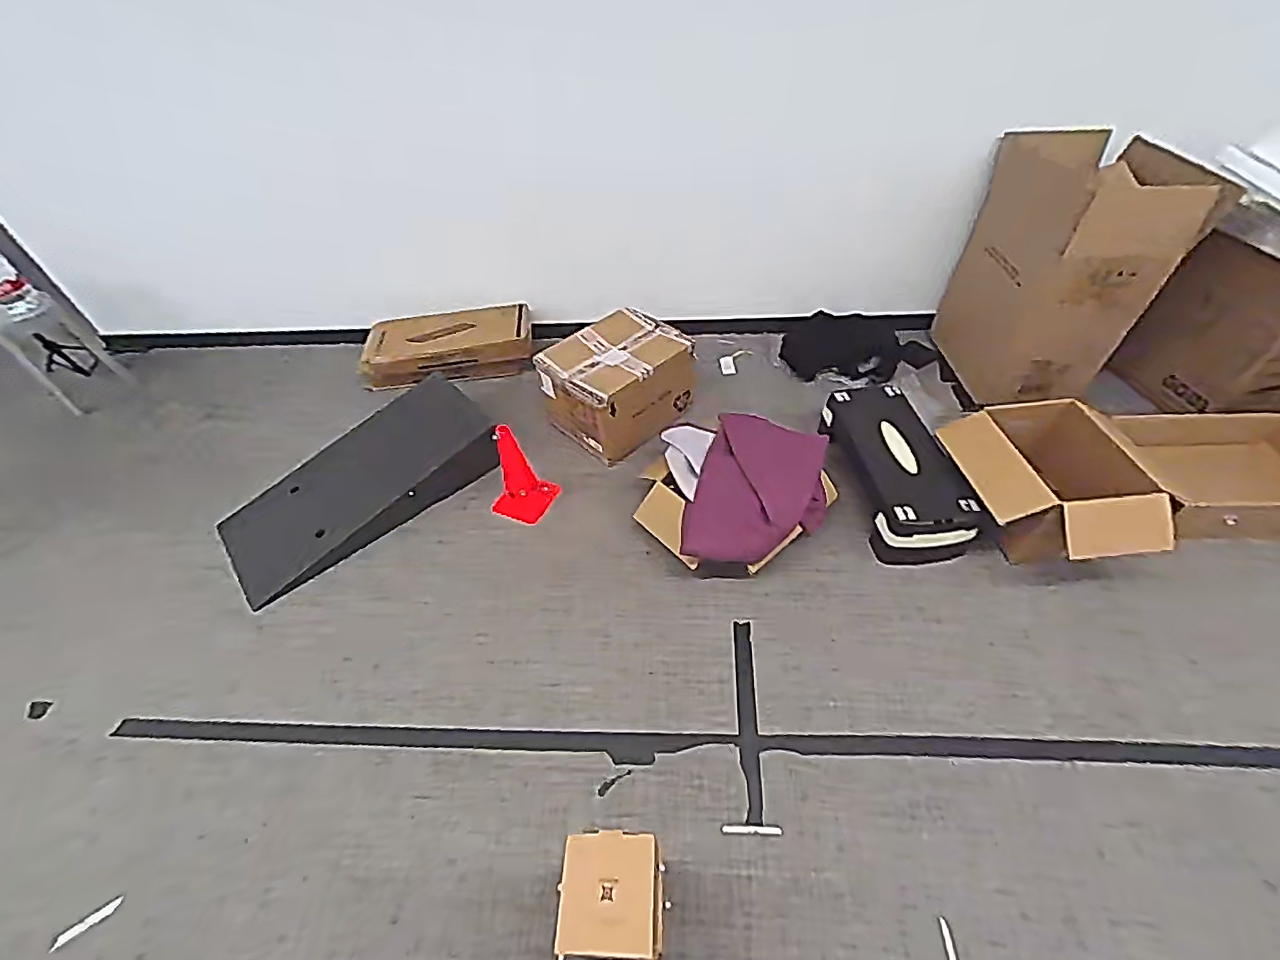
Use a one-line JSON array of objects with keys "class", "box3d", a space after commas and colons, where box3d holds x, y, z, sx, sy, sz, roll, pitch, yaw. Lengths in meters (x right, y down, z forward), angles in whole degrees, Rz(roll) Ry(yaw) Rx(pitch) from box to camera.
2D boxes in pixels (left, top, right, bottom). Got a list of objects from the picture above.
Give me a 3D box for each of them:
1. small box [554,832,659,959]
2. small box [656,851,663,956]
[{"class": "small box", "box3d": [-0.052, 0.775, 1.005, 0.168, 0.176, 0.179, -2, 48, 5]}, {"class": "small box", "box3d": [-0.040, 0.882, 1.127, 0.179, 0.176, 0.168, -2, 47, 4]}]
